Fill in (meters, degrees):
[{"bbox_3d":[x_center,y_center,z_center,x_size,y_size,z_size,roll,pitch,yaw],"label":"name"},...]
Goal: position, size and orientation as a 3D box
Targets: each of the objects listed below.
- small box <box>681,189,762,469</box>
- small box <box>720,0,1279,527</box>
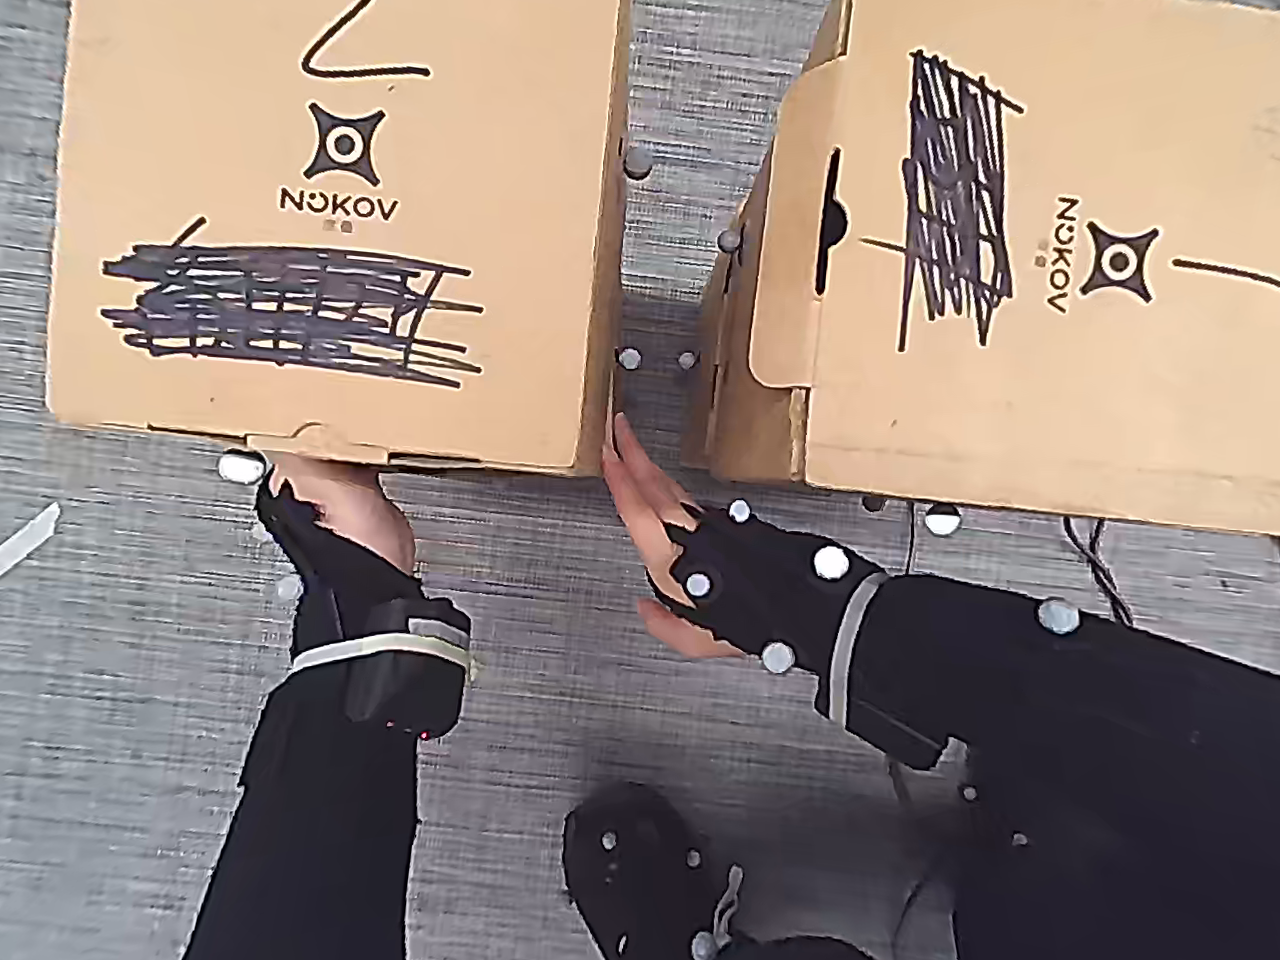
[{"bbox_3d":[0.135,-0.084,0.408,0.179,0.176,0.168,8,90,-1],"label":"small box"},{"bbox_3d":[0.140,-0.075,0.244,0.179,0.176,0.168,7,91,-2],"label":"small box"}]
